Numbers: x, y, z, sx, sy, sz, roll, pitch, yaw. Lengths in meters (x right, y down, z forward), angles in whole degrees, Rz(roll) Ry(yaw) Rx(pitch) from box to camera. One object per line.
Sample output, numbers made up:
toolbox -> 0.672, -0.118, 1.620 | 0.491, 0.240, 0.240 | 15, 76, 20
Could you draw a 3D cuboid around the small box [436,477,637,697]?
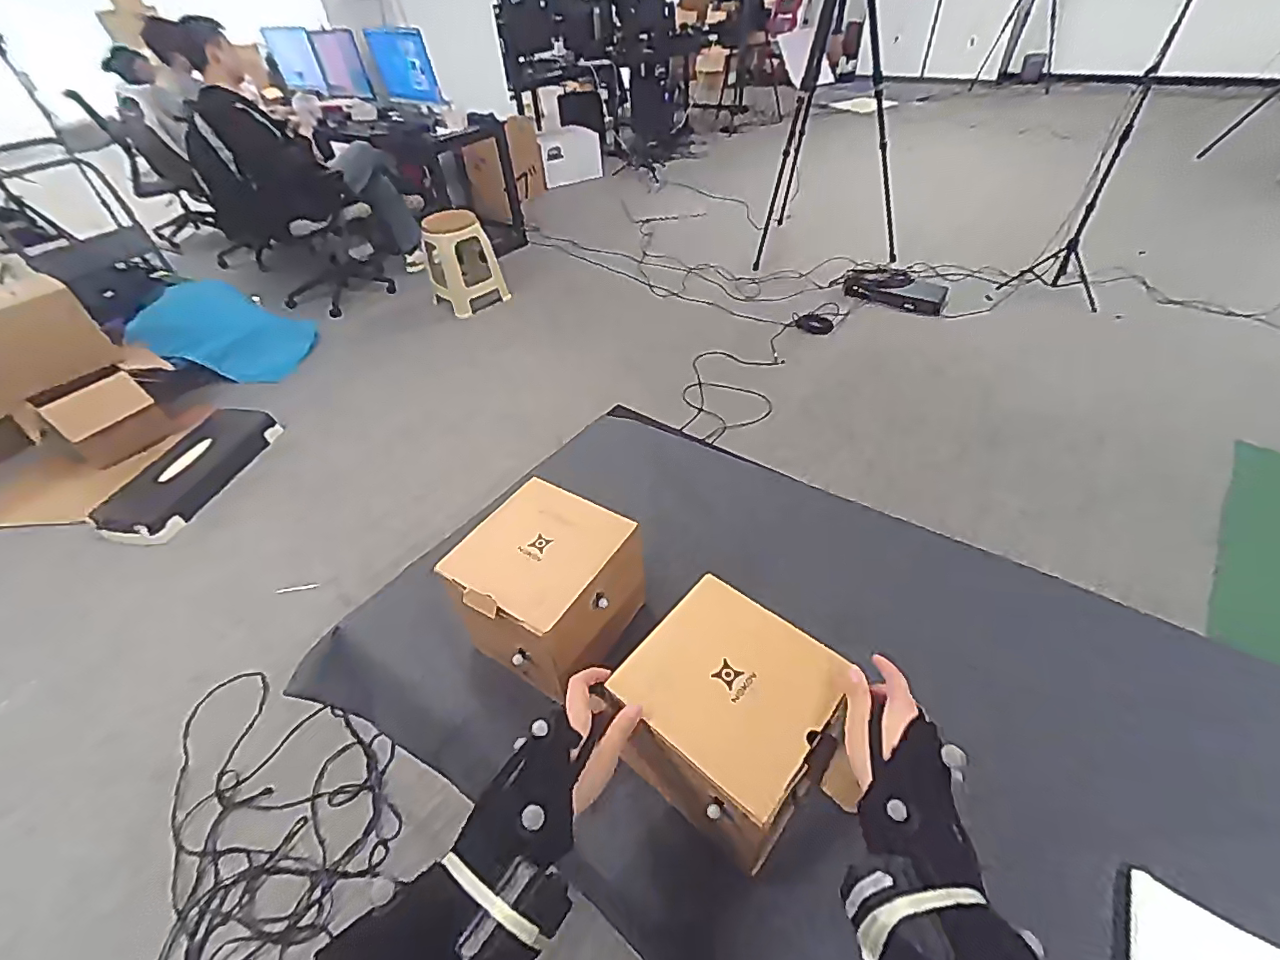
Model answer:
small box -> -0.113, 0.132, 0.673 | 0.168, 0.176, 0.179 | 22, 48, 24
